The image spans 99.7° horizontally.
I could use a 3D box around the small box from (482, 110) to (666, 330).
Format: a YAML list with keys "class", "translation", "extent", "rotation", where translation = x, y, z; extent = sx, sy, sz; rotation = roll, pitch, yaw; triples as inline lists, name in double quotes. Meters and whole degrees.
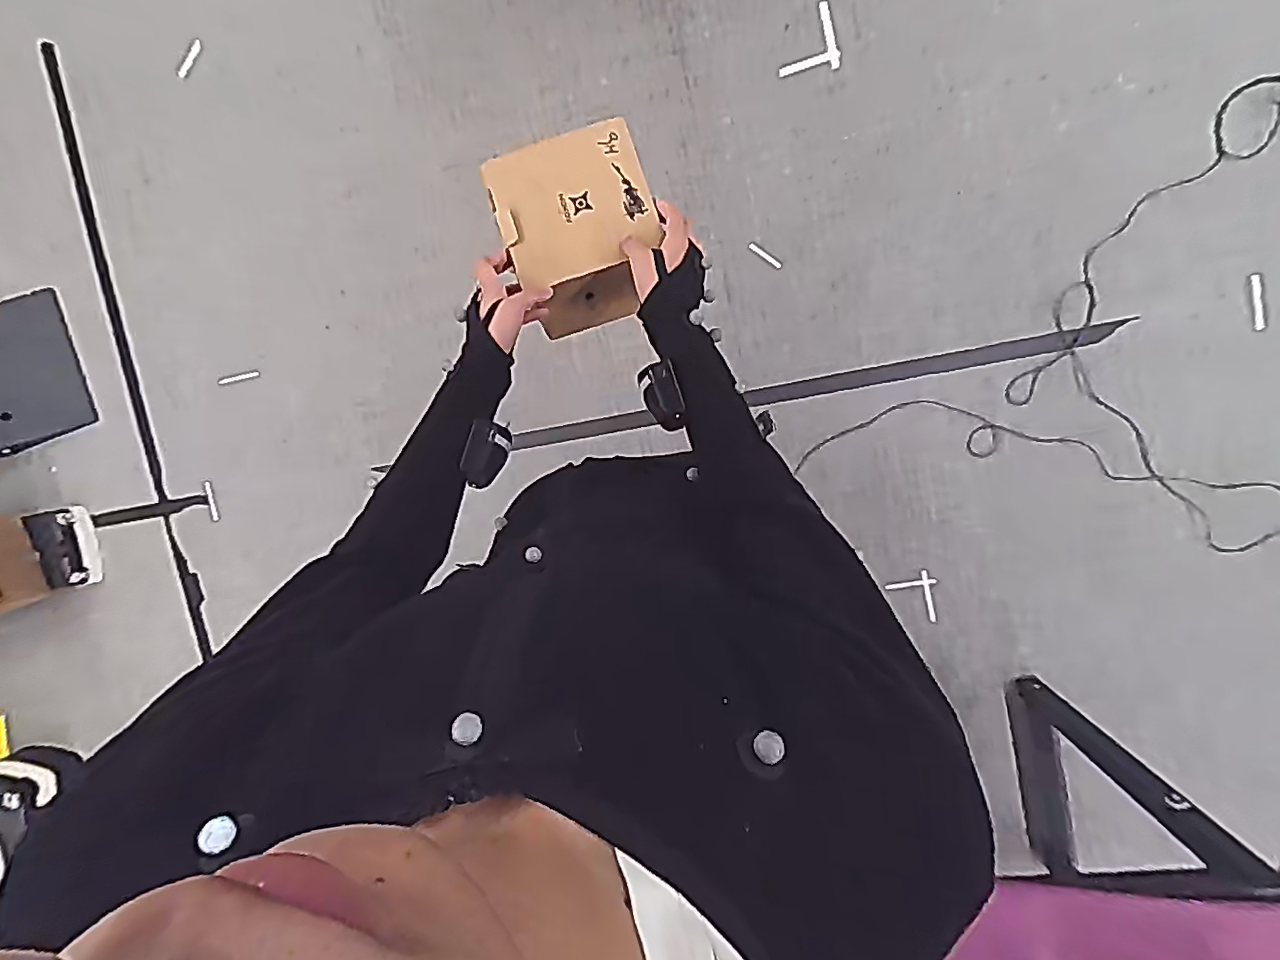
- class: "small box"
  translation: [-0.071, -0.310, 0.685]
  extent: [0.179, 0.176, 0.168]
  rotation: [-17, 86, 2]
